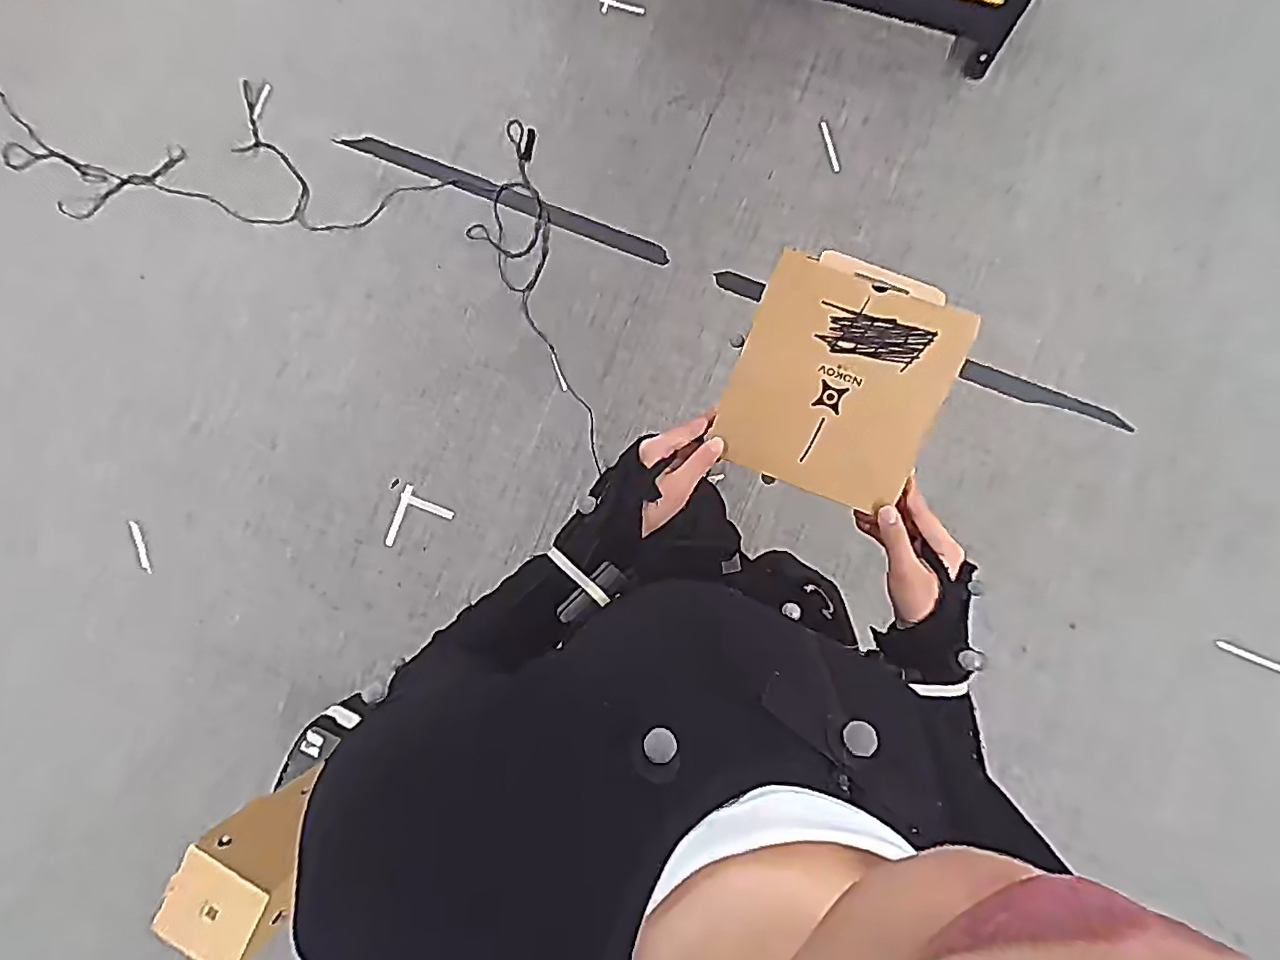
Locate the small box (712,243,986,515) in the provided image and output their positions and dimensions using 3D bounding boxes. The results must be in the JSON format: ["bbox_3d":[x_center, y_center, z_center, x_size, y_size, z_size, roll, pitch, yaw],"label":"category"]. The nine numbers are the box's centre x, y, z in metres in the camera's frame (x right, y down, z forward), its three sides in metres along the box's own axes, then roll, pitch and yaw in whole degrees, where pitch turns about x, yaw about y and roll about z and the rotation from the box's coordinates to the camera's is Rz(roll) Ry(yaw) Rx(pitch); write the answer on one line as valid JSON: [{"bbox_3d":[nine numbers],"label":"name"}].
[{"bbox_3d":[0.173,-0.089,0.513,0.168,0.176,0.179,21,100,5],"label":"small box"}]

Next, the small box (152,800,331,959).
[{"bbox_3d":[-0.719,0.737,0.998,0.179,0.176,0.168,25,90,8],"label":"small box"}]
